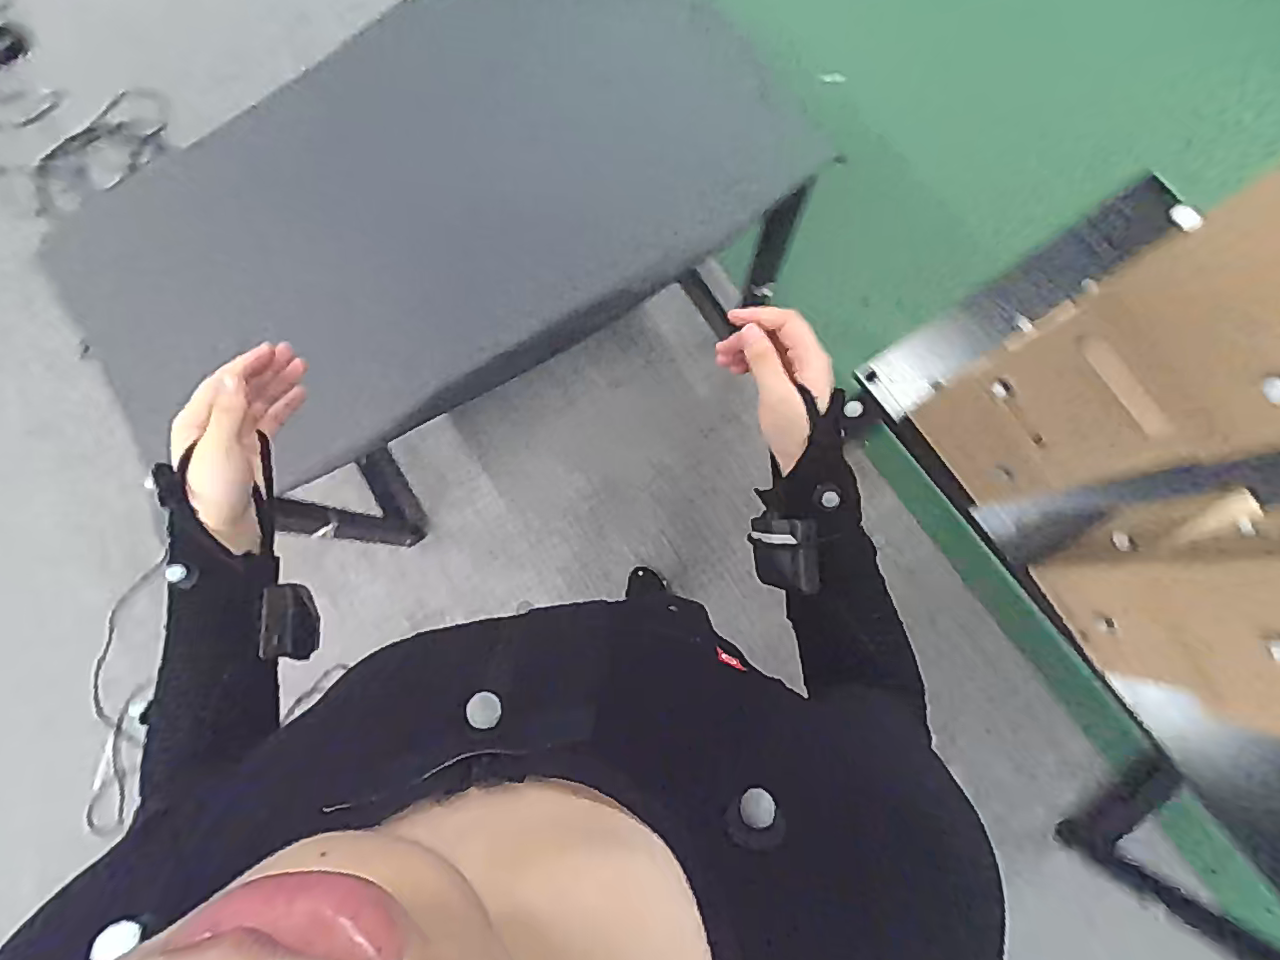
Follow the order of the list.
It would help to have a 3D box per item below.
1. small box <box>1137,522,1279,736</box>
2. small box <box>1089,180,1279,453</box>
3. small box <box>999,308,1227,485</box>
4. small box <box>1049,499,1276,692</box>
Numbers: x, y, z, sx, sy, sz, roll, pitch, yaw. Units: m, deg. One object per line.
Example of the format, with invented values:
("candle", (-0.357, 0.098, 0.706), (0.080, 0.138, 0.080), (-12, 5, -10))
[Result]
("small box", (0.645, 0.138, 0.507), (0.168, 0.176, 0.179), (-21, 80, -1))
("small box", (0.503, -0.134, 0.394), (0.168, 0.176, 0.179), (-30, 80, -5))
("small box", (0.516, -0.111, 0.555), (0.179, 0.176, 0.168), (-30, 81, -4))
("small box", (0.662, 0.145, 0.670), (0.179, 0.176, 0.168), (-29, 81, -3))
